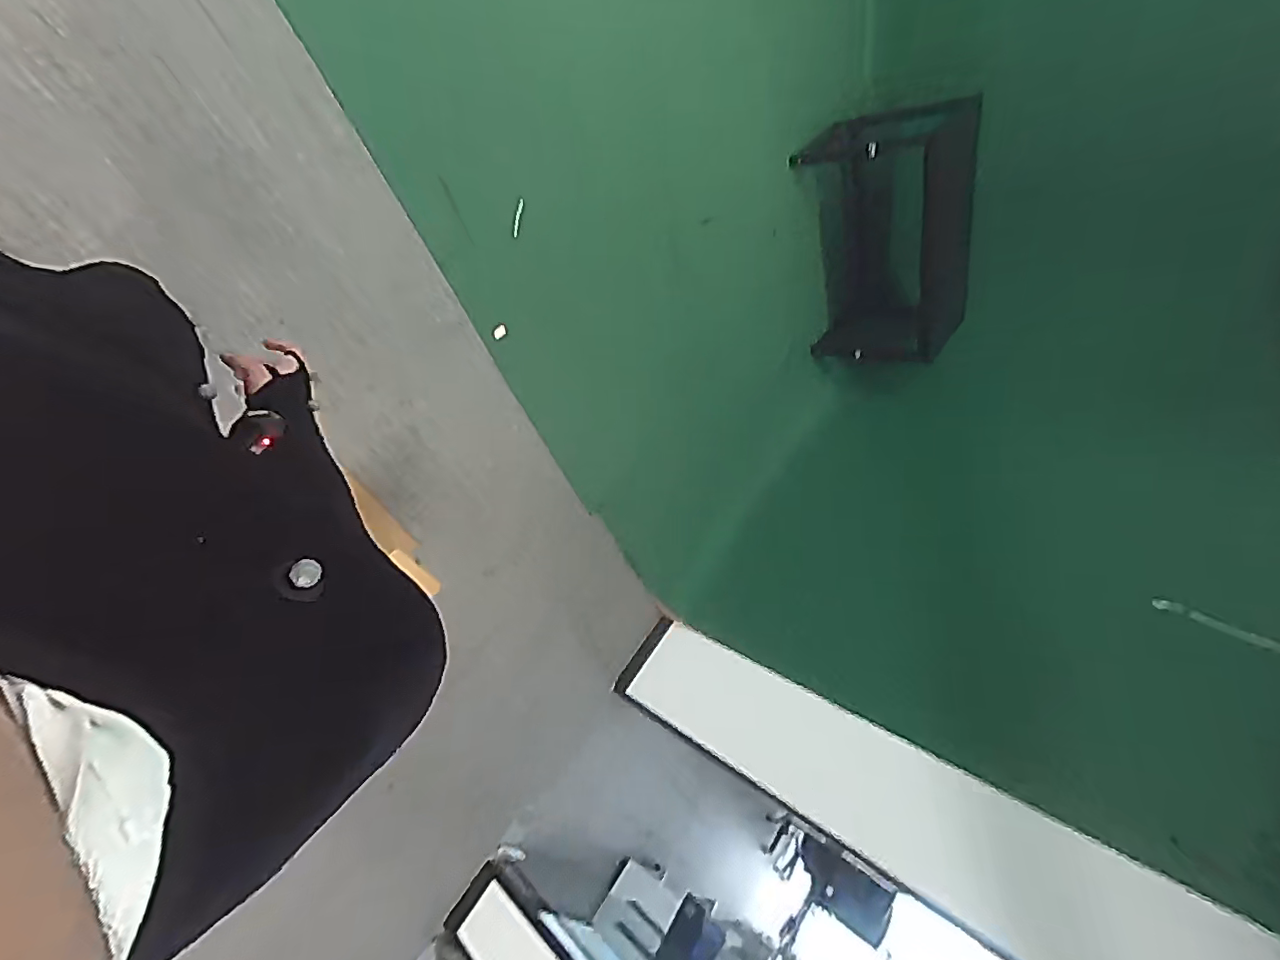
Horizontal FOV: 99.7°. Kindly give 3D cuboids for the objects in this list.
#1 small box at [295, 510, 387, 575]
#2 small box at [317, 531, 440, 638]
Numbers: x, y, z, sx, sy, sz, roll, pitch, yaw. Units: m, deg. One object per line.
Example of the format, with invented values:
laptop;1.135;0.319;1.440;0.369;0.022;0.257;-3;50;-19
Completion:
small box;-0.748;0.197;1.405;0.168;0.176;0.179;-52;138;-23
small box;-0.632;0.242;1.302;0.168;0.176;0.179;-51;137;-23
